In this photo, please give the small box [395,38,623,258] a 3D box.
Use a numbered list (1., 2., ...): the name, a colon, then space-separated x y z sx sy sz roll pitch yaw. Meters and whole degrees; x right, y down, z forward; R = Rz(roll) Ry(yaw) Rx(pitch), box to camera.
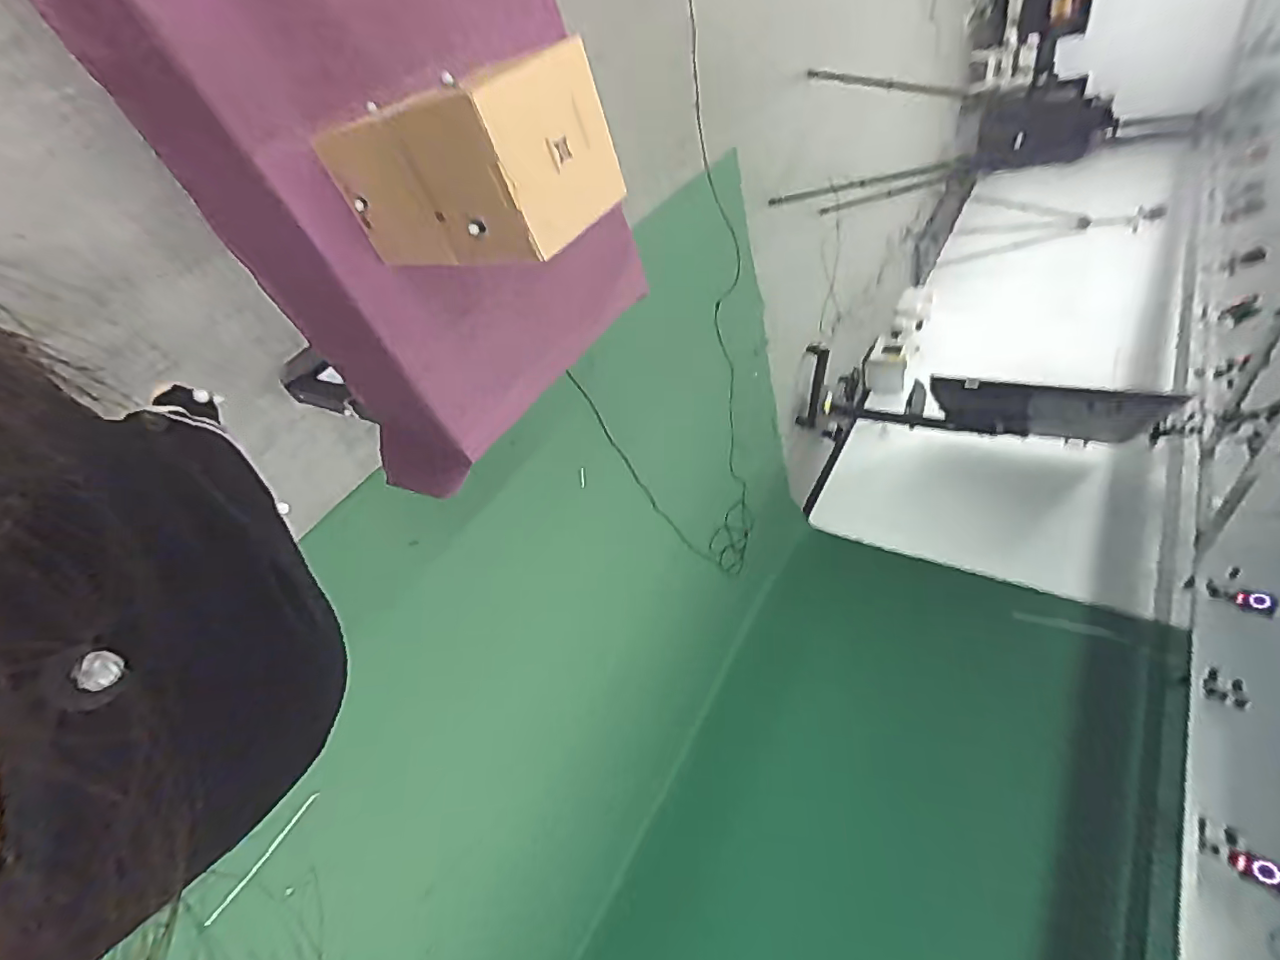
1. small box: -0.154 -0.376 0.635 0.179 0.176 0.168 -53 141 -29
